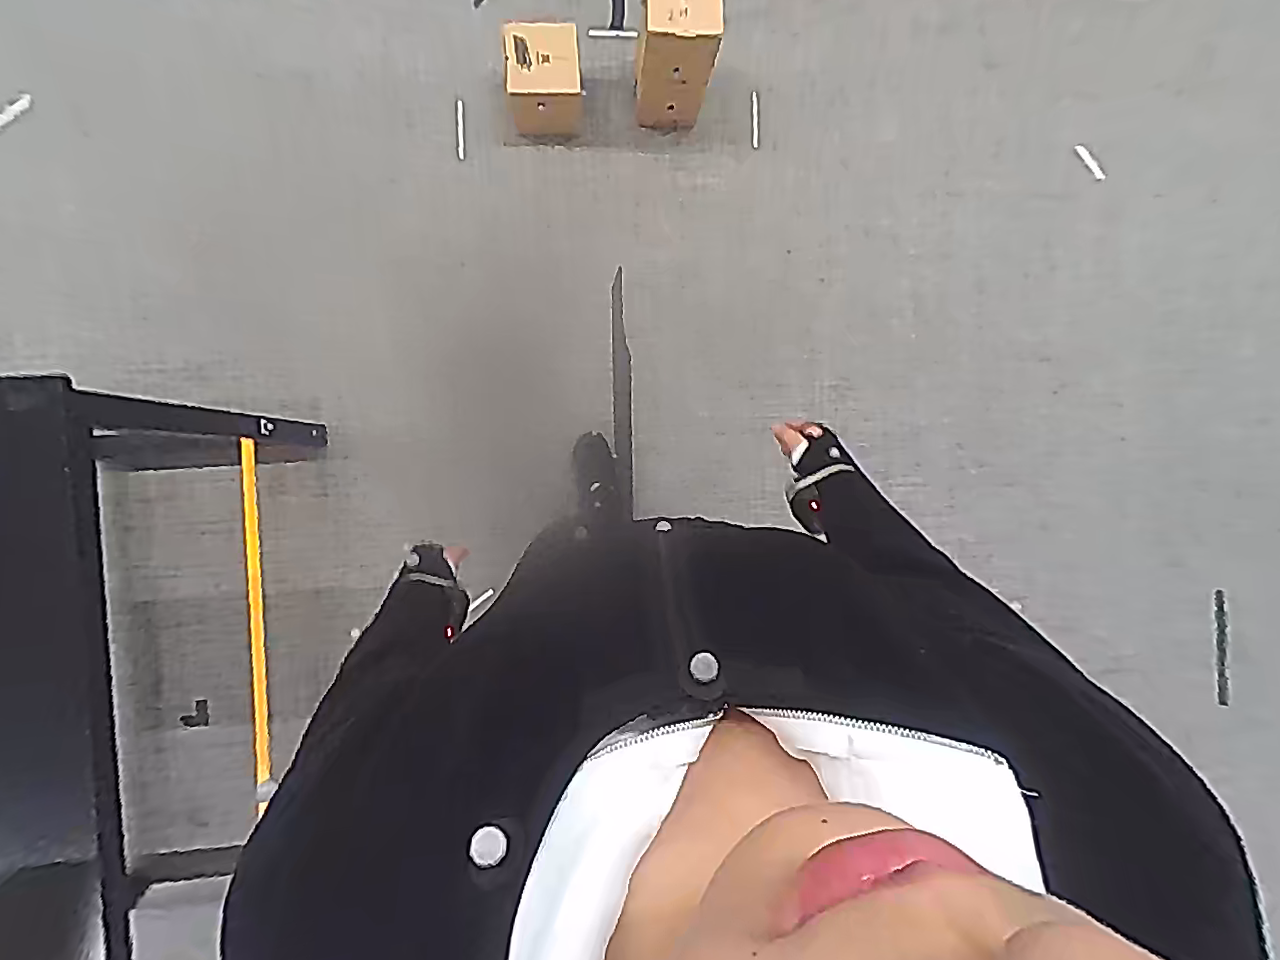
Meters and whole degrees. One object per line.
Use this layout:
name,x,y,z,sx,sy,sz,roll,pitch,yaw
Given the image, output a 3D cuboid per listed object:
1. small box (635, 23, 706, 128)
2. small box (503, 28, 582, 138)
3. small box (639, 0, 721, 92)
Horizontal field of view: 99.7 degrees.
small box,0.076,-1.048,1.402,0.168,0.176,0.179,-2,92,-5
small box,-0.241,-0.999,1.372,0.179,0.176,0.168,-4,92,-5
small box,0.087,-1.037,1.236,0.168,0.176,0.179,-1,92,-5
